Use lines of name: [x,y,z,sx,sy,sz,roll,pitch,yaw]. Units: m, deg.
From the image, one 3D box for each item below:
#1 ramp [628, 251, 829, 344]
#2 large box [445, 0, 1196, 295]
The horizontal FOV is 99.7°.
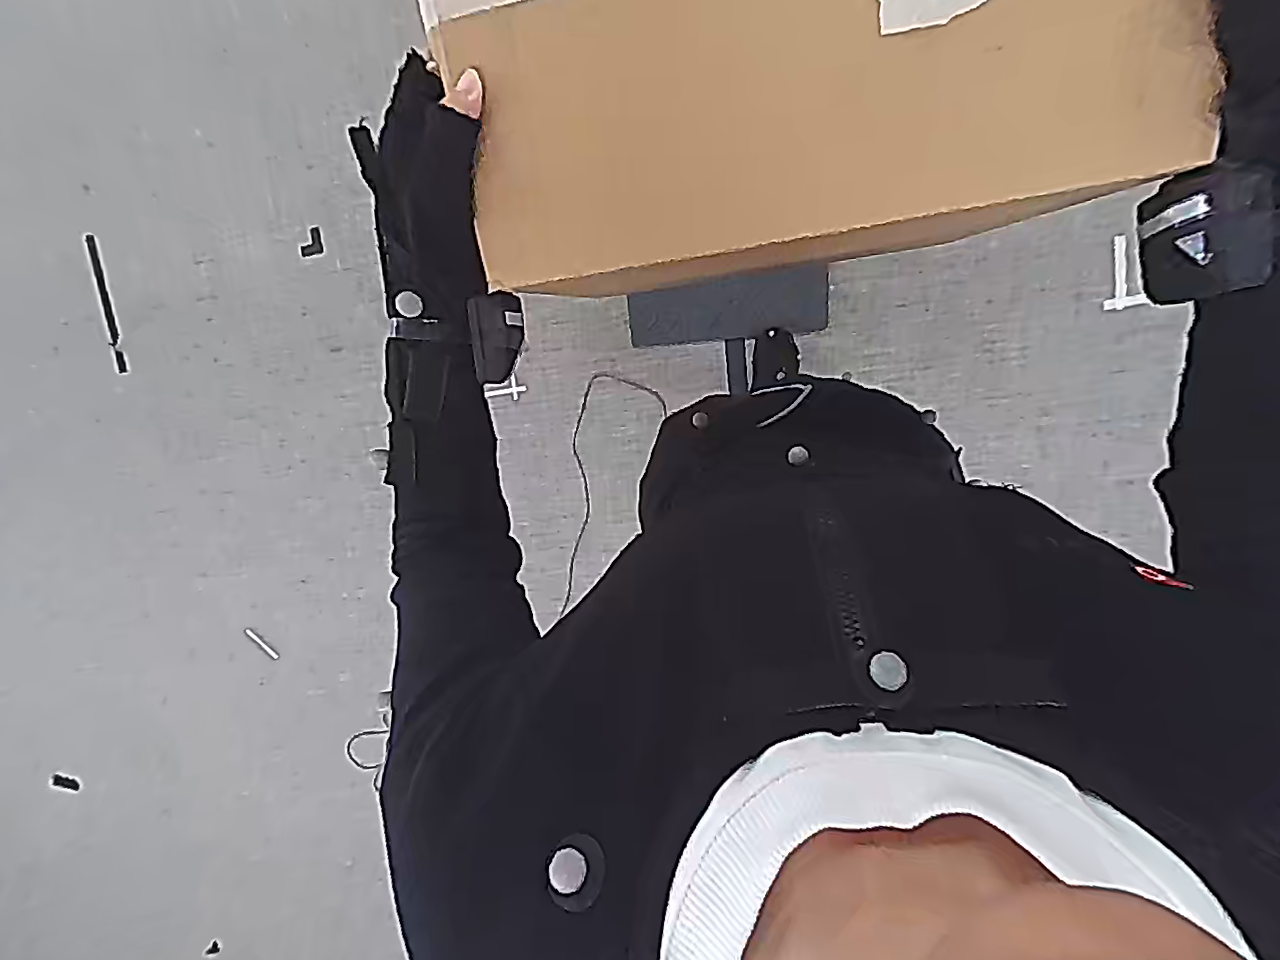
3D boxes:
ramp: [0.170,-0.832,1.203,0.509,0.206,0.991,-5,100,9]
large box: [0.095,-0.346,0.429,0.408,0.320,0.320,-7,107,9]
